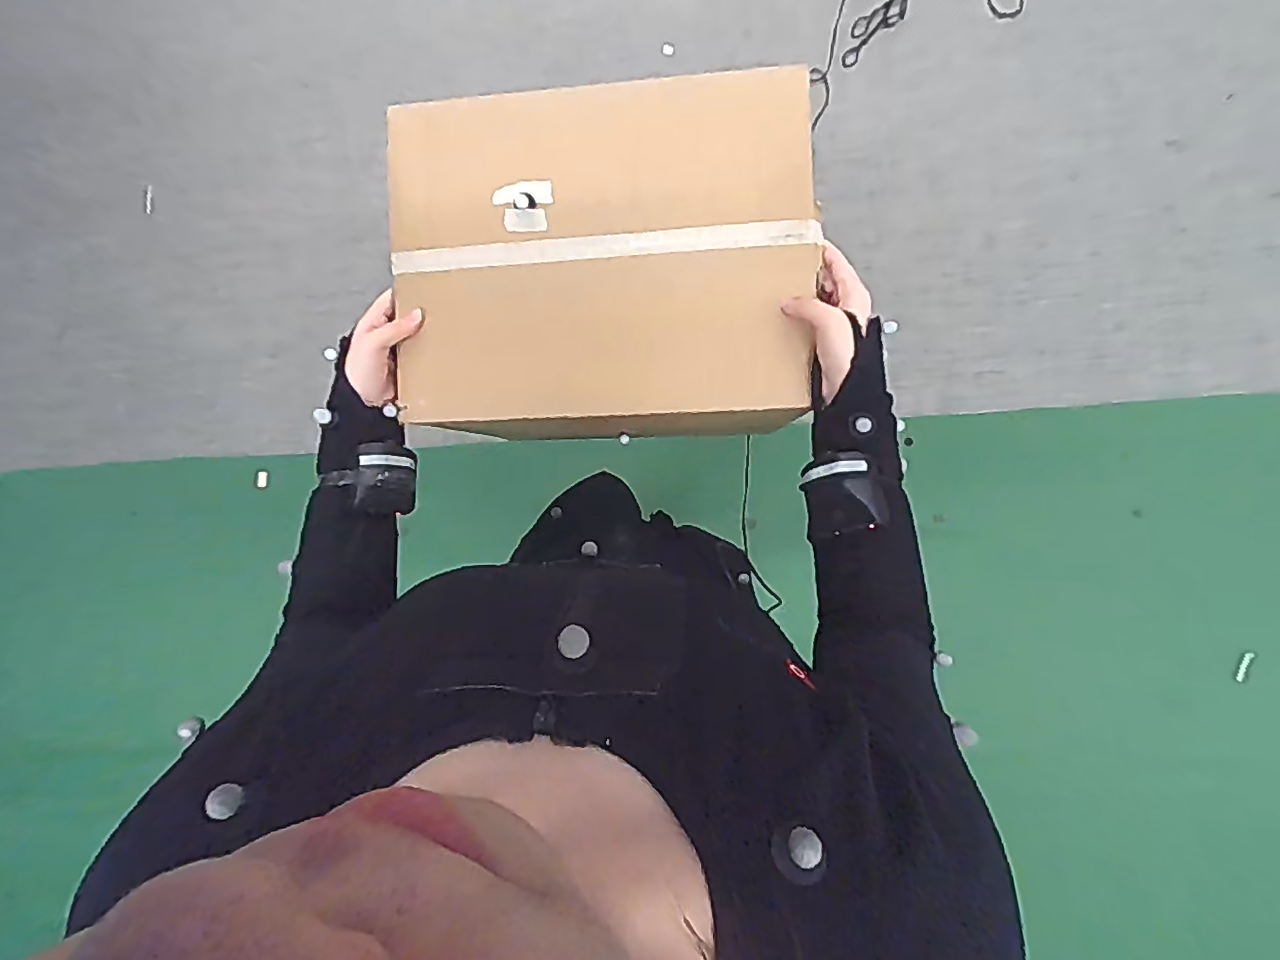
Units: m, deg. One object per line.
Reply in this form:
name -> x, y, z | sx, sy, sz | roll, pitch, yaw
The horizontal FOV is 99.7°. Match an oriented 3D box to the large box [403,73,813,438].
large box -> -0.020, -0.220, 0.675 | 0.408, 0.320, 0.320 | -2, 90, 8
